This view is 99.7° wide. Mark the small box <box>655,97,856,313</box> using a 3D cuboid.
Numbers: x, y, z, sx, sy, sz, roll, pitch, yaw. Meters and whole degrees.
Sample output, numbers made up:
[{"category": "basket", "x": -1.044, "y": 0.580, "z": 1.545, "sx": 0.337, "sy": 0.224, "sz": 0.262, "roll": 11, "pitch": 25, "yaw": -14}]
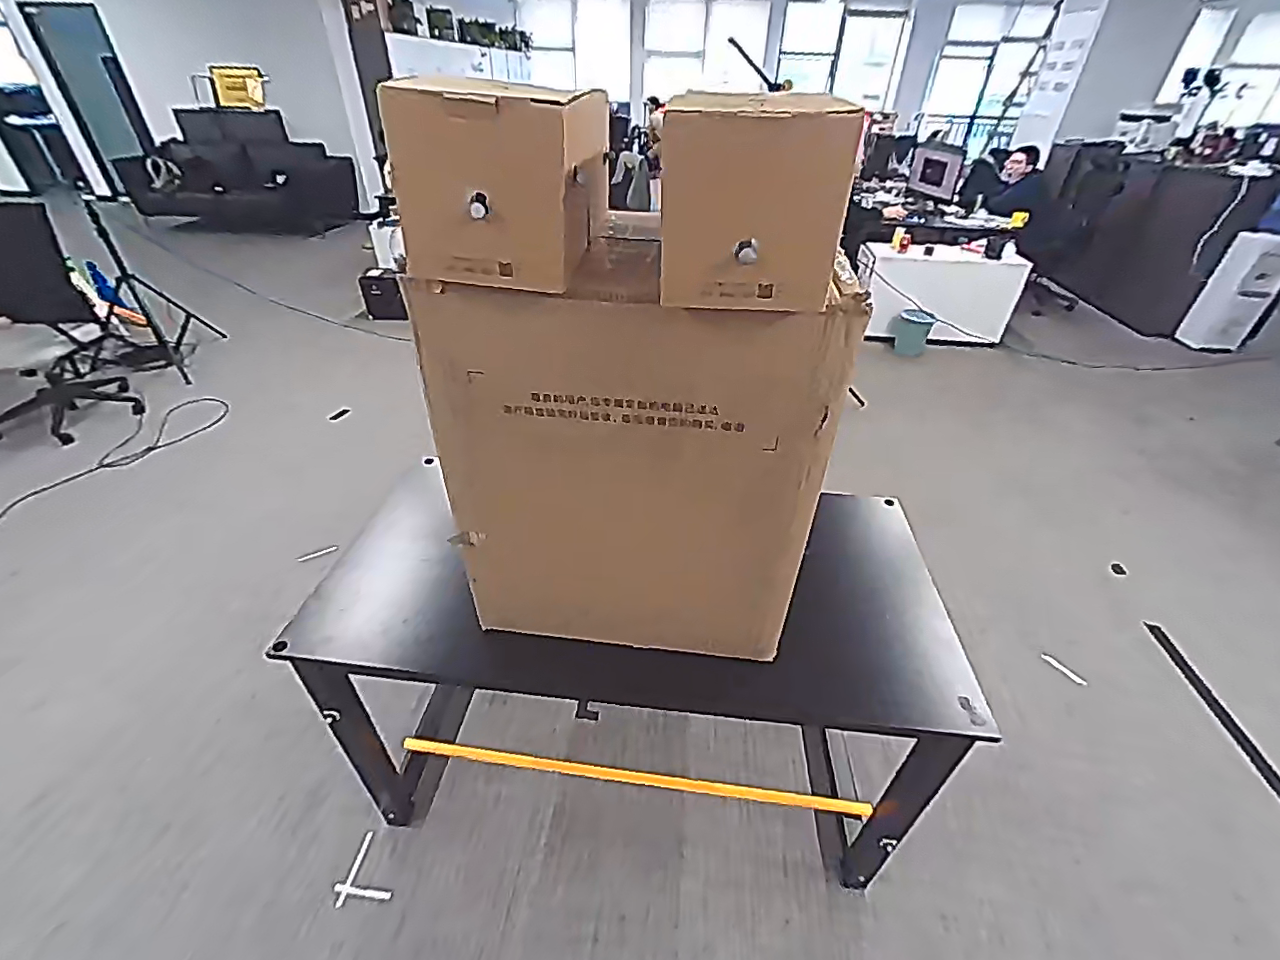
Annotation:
[{"category": "small box", "x": 0.104, "y": -0.286, "z": 0.557, "sx": 0.168, "sy": 0.176, "sz": 0.179, "roll": 3, "pitch": 39, "yaw": 5}]

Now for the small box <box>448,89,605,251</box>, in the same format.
[{"category": "small box", "x": -0.140, "y": -0.425, "z": 0.739, "sx": 0.168, "sy": 0.176, "sz": 0.179, "roll": 4, "pitch": 36, "yaw": 3}]
